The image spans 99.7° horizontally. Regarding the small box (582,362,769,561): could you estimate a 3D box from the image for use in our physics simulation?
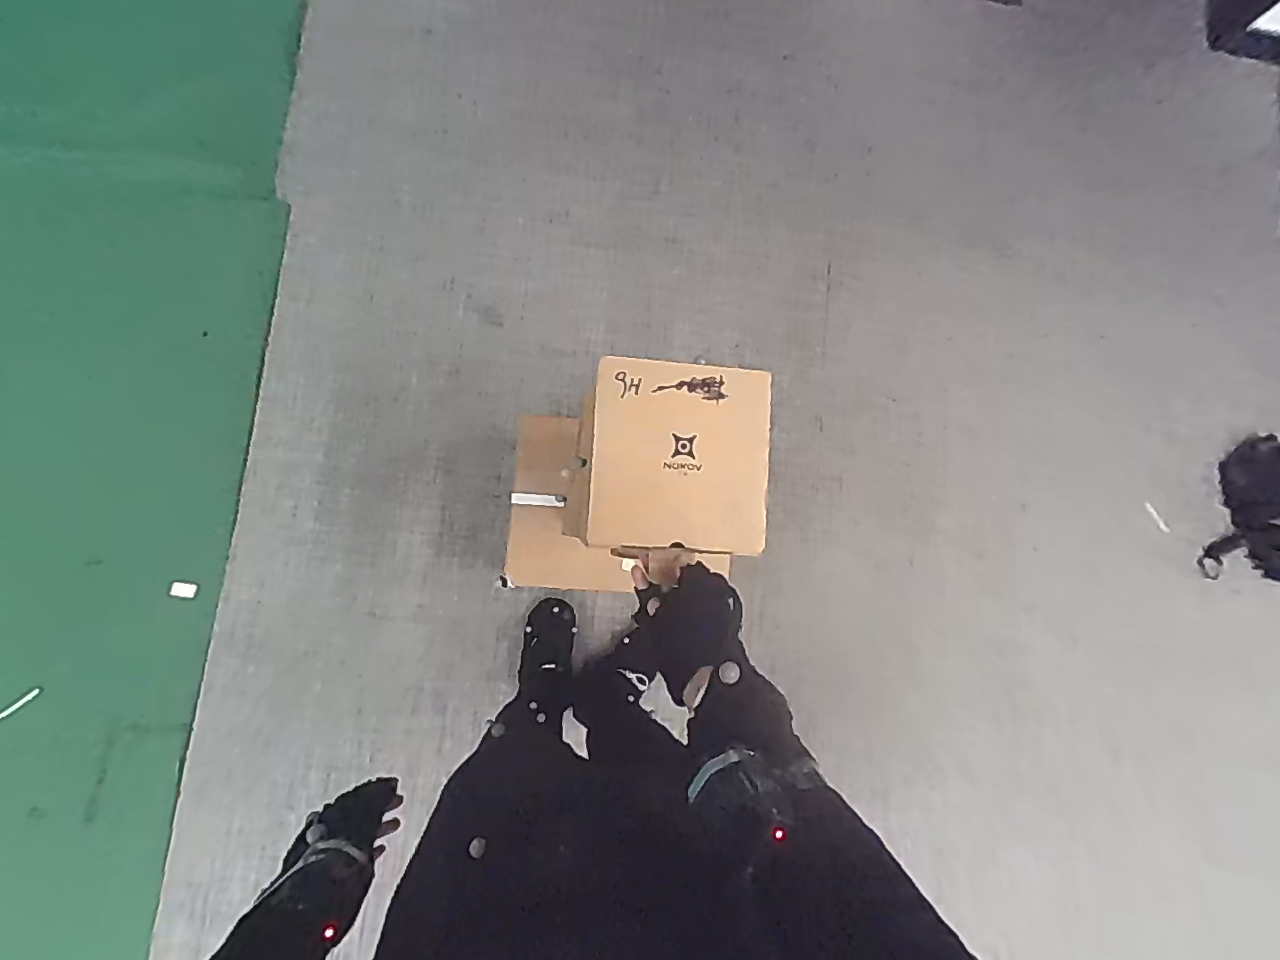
[{"bbox_3d":[0.026,-0.013,0.582,0.168,0.176,0.179,4,87,-8],"label":"small box"}]

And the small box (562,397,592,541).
[{"bbox_3d":[-0.012,-0.001,0.743,0.168,0.176,0.179,8,85,-8],"label":"small box"}]
